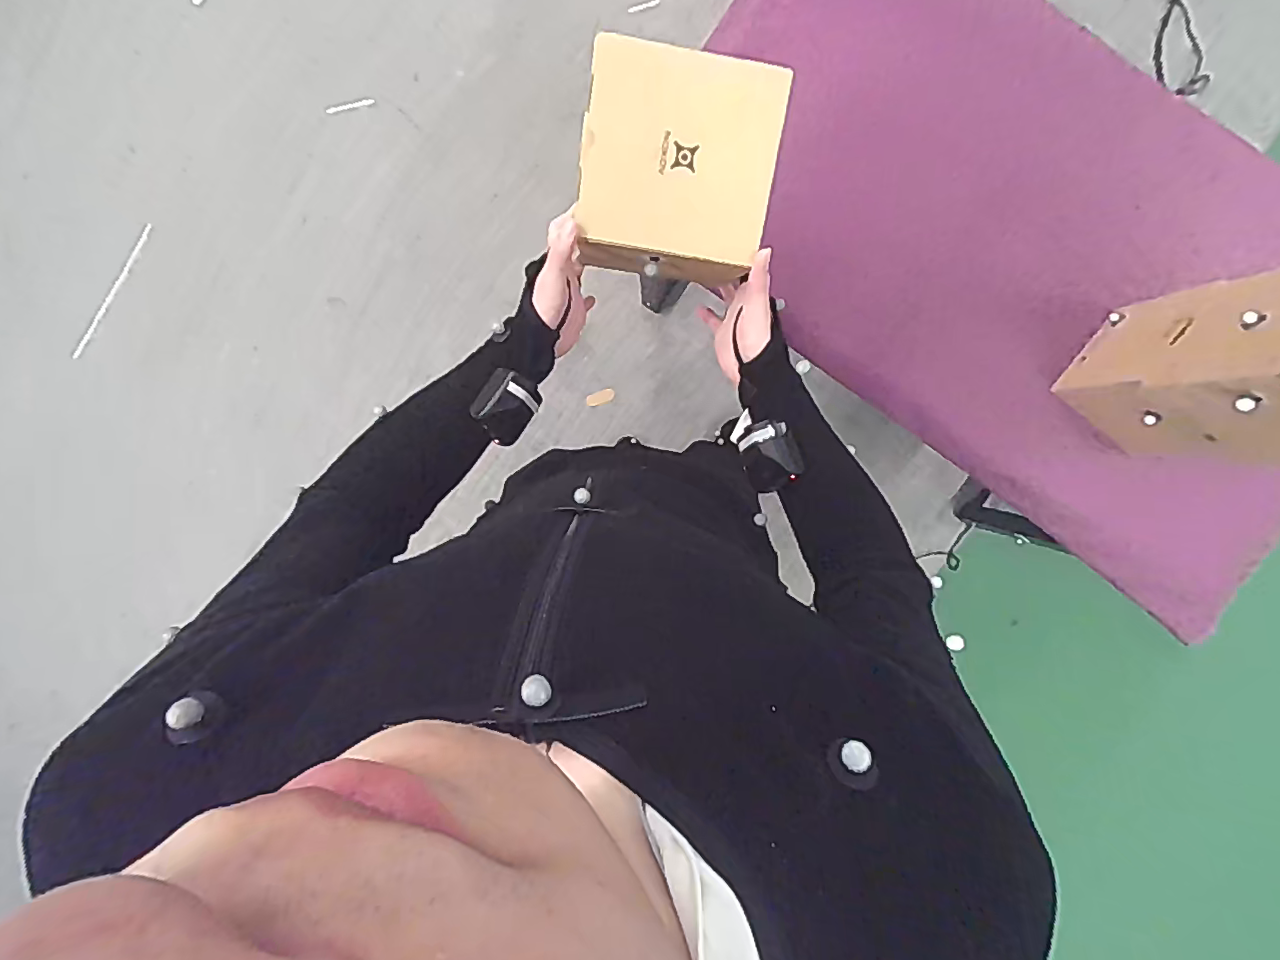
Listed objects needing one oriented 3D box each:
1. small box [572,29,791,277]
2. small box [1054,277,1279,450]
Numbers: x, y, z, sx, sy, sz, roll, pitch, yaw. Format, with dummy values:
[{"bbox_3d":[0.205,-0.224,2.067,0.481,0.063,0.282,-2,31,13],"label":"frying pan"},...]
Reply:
[{"bbox_3d":[0.032,-0.313,0.559,0.179,0.176,0.168,8,104,-3],"label":"small box"},{"bbox_3d":[0.777,-0.159,0.796,0.179,0.176,0.168,37,95,-3],"label":"small box"}]
